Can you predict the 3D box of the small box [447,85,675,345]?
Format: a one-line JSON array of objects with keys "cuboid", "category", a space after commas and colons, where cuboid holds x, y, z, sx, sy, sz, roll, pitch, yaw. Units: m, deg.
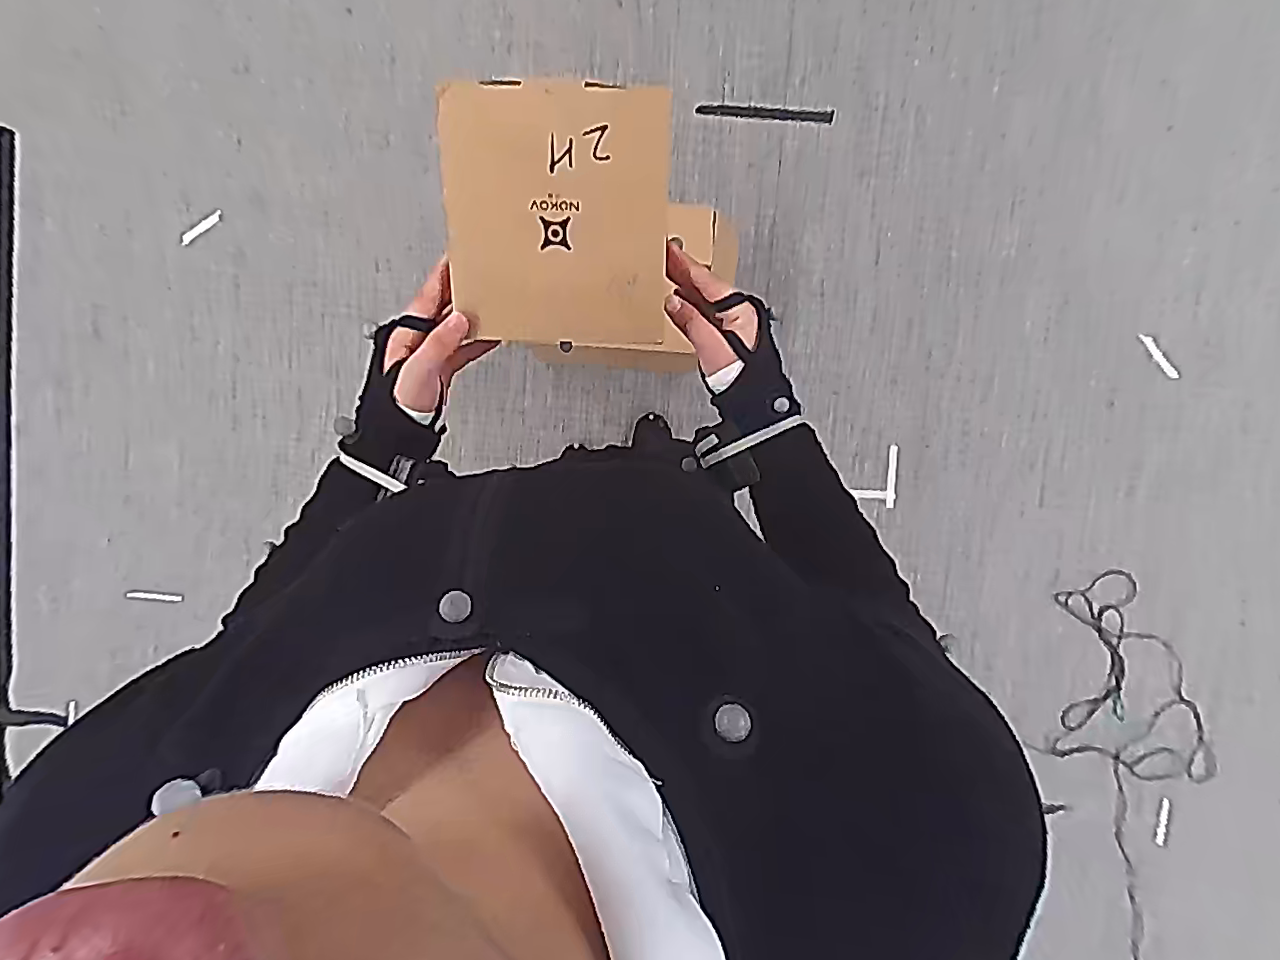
[{"cuboid": [-0.060, -0.219, 0.486, 0.168, 0.176, 0.179, 1, 108, -2], "category": "small box"}]
